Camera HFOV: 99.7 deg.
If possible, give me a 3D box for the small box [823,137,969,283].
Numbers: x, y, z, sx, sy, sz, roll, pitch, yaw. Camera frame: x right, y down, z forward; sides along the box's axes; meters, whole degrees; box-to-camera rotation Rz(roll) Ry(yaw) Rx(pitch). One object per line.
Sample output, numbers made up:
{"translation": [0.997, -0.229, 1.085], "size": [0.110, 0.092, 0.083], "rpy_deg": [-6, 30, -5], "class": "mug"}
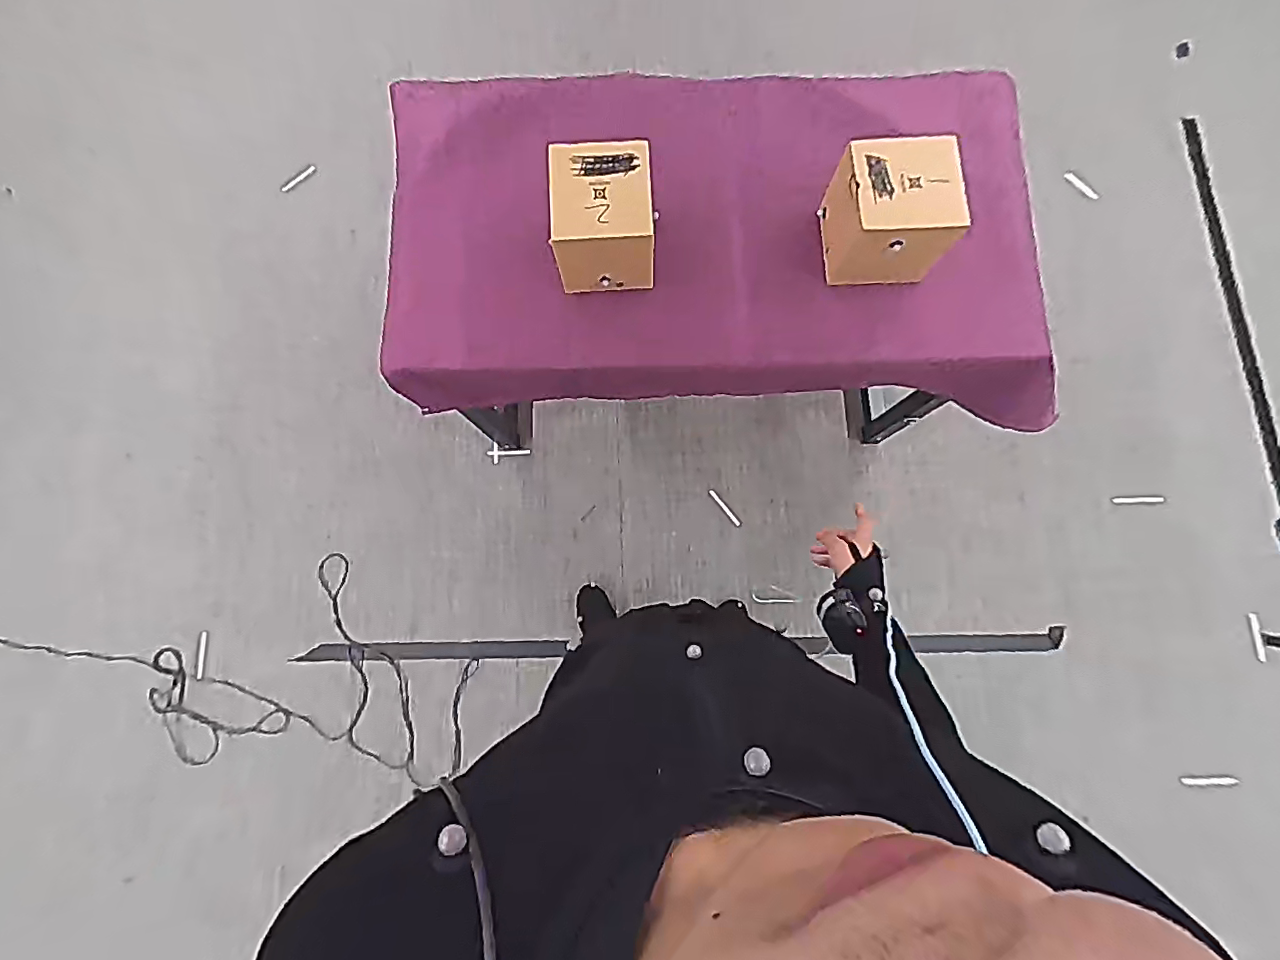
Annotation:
{"translation": [0.431, -0.461, 0.944], "size": [0.179, 0.176, 0.168], "rpy_deg": [-2, 80, 0], "class": "small box"}
